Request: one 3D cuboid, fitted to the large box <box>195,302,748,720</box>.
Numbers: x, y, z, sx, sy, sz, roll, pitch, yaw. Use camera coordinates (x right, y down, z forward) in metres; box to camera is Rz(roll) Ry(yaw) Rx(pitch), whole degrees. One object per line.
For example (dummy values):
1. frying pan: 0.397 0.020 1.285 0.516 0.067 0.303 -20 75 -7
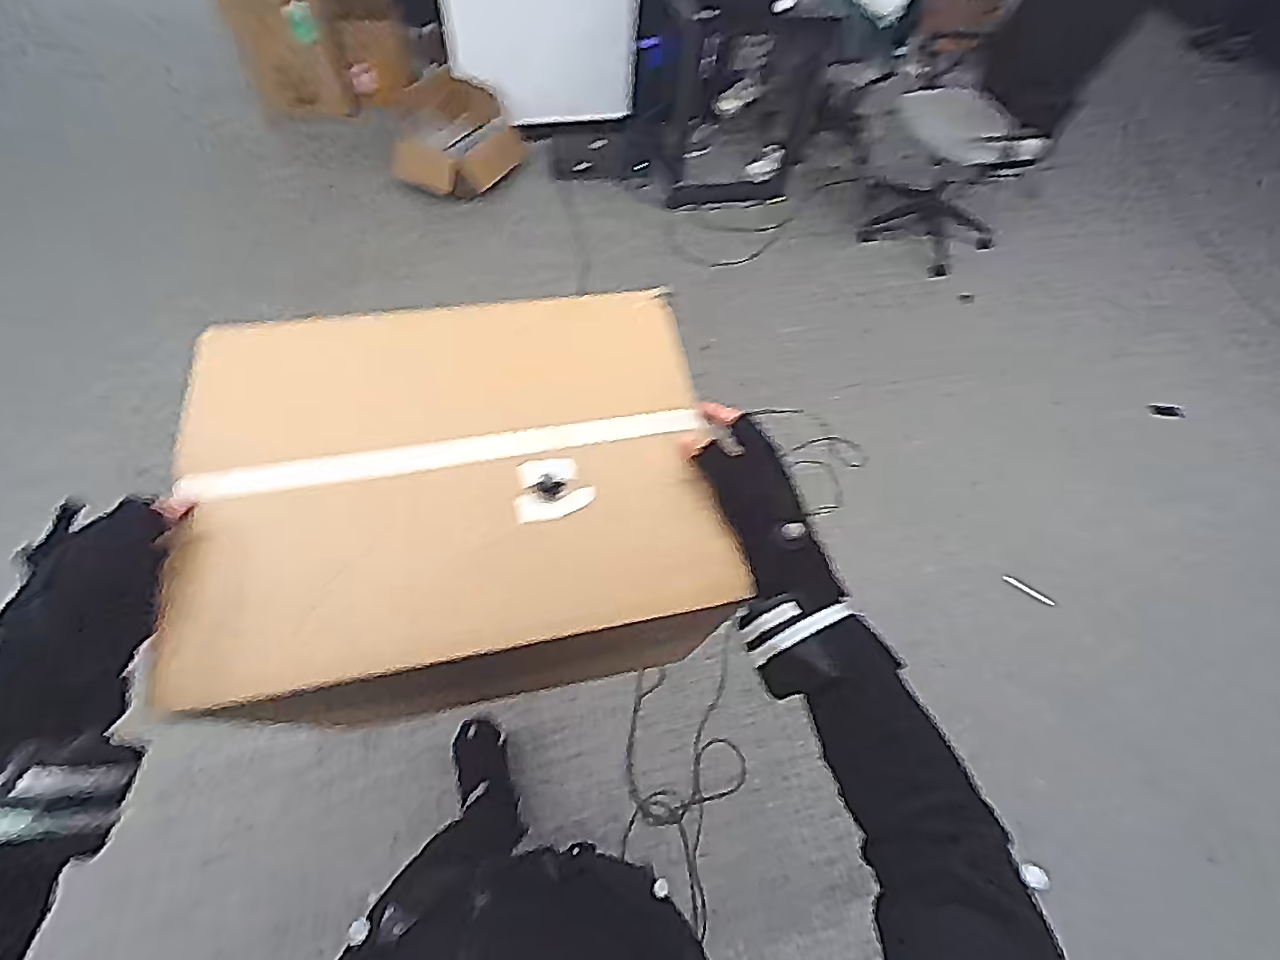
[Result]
1. large box: -0.151 0.047 0.587 0.408 0.320 0.320 -8 65 -10
